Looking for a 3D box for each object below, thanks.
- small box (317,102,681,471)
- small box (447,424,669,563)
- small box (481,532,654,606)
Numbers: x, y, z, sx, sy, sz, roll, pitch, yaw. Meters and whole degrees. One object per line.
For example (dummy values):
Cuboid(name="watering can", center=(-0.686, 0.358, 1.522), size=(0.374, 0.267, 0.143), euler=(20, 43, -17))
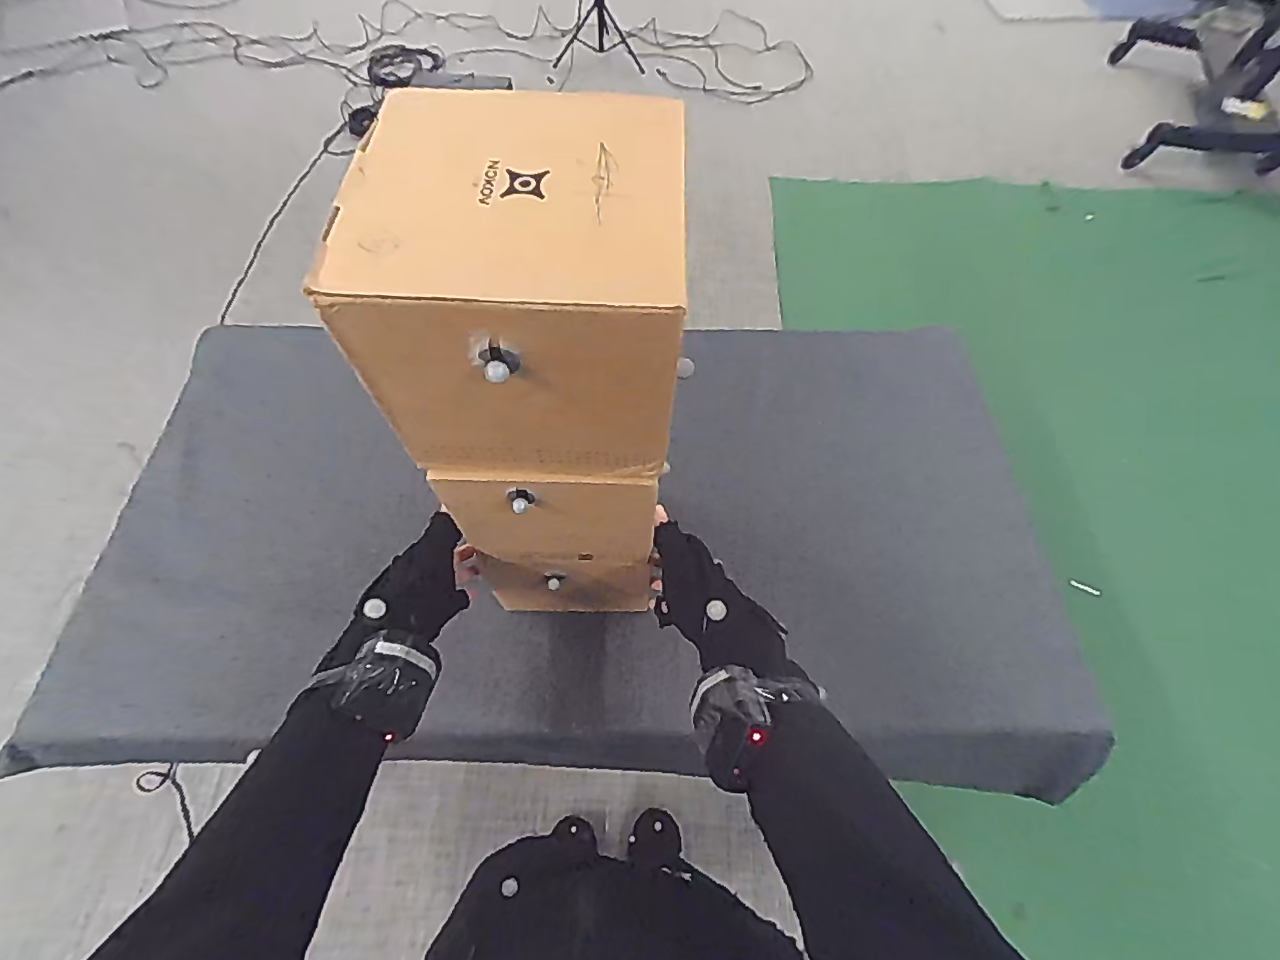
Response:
Cuboid(name="small box", center=(-0.065, -0.116, 0.361), size=(0.179, 0.176, 0.168), euler=(2, 63, -1))
Cuboid(name="small box", center=(-0.064, -0.034, 0.505), size=(0.168, 0.176, 0.179), euler=(0, 62, -2))
Cuboid(name="small box", center=(-0.072, 0.047, 0.644), size=(0.179, 0.176, 0.168), euler=(0, 61, -1))
